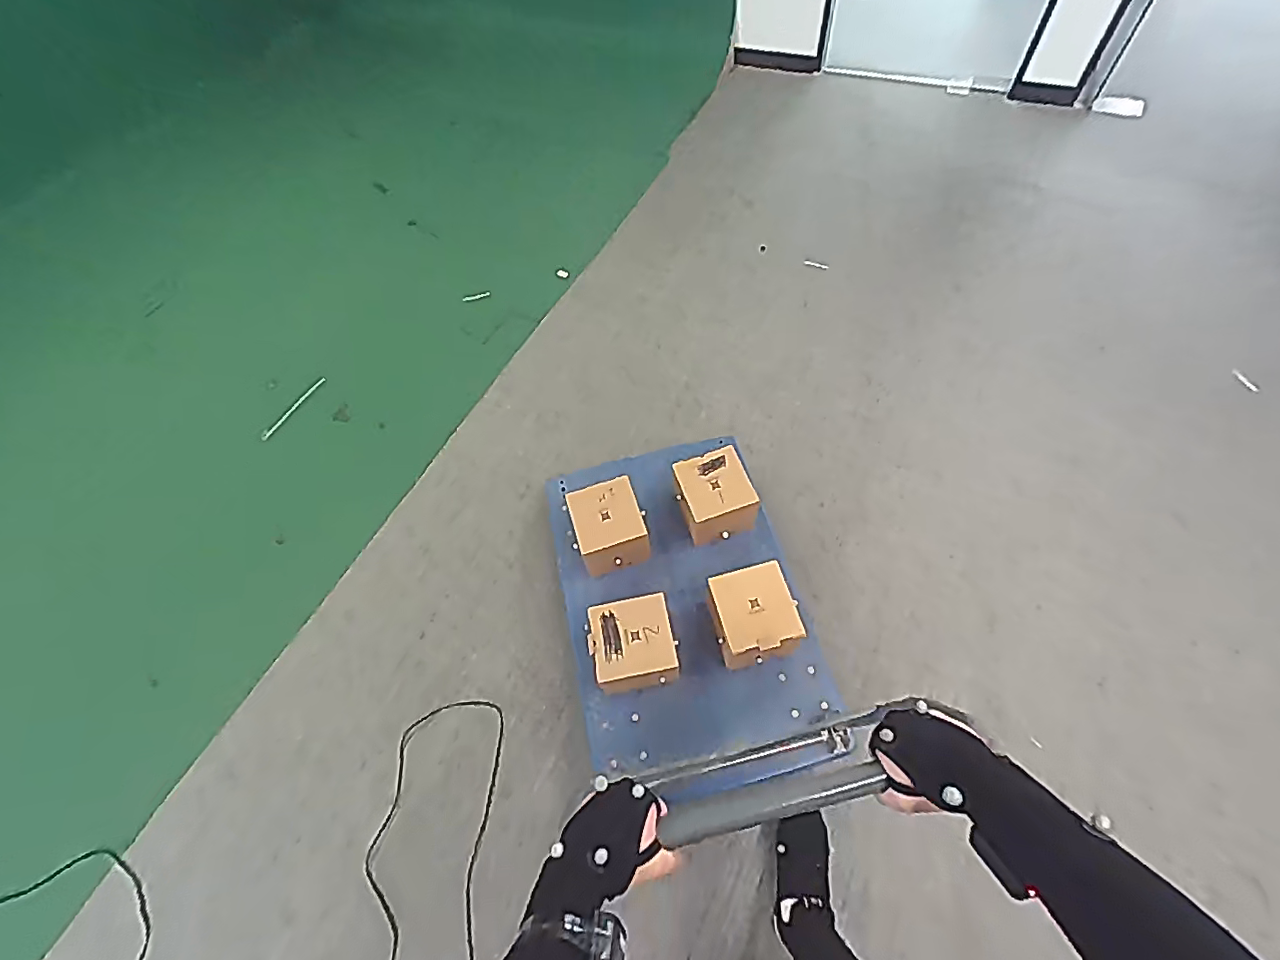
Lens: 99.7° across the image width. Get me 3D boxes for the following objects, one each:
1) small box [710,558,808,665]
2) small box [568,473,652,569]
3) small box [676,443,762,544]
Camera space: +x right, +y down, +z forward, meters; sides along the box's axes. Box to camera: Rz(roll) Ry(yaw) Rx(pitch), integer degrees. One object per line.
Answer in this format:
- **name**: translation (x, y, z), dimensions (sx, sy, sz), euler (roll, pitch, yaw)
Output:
- **small box**: translation (0.263, 0.306, 1.244), dimensions (0.168, 0.176, 0.179), euler (-15, 61, -2)
- **small box**: translation (-0.071, 0.114, 1.383), dimensions (0.168, 0.176, 0.179), euler (-17, 60, -5)
- **small box**: translation (0.198, 0.038, 1.400), dimensions (0.168, 0.176, 0.179), euler (-19, 61, -4)
